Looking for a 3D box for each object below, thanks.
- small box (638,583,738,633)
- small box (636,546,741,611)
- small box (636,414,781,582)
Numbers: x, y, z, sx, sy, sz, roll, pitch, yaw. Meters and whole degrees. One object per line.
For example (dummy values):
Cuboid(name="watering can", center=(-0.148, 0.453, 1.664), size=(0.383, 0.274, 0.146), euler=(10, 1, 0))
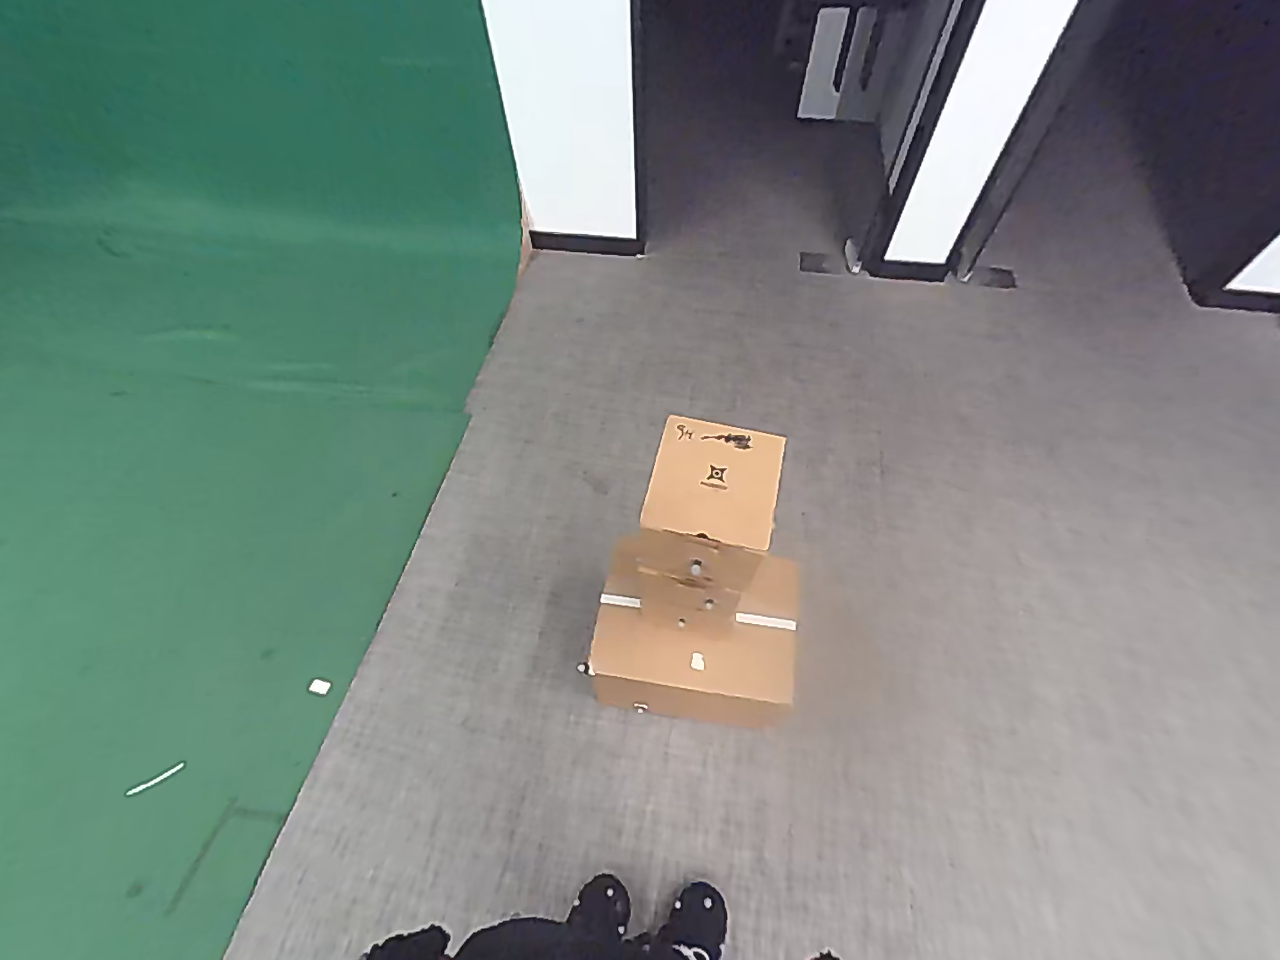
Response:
Cuboid(name="small box", center=(0.103, 0.191, 1.070), size=(0.179, 0.176, 0.168), euler=(13, 62, 9))
Cuboid(name="small box", center=(0.093, 0.113, 0.931), size=(0.168, 0.176, 0.179), euler=(10, 62, 6))
Cuboid(name="small box", center=(0.097, 0.034, 0.788), size=(0.168, 0.176, 0.179), euler=(12, 64, 8))
